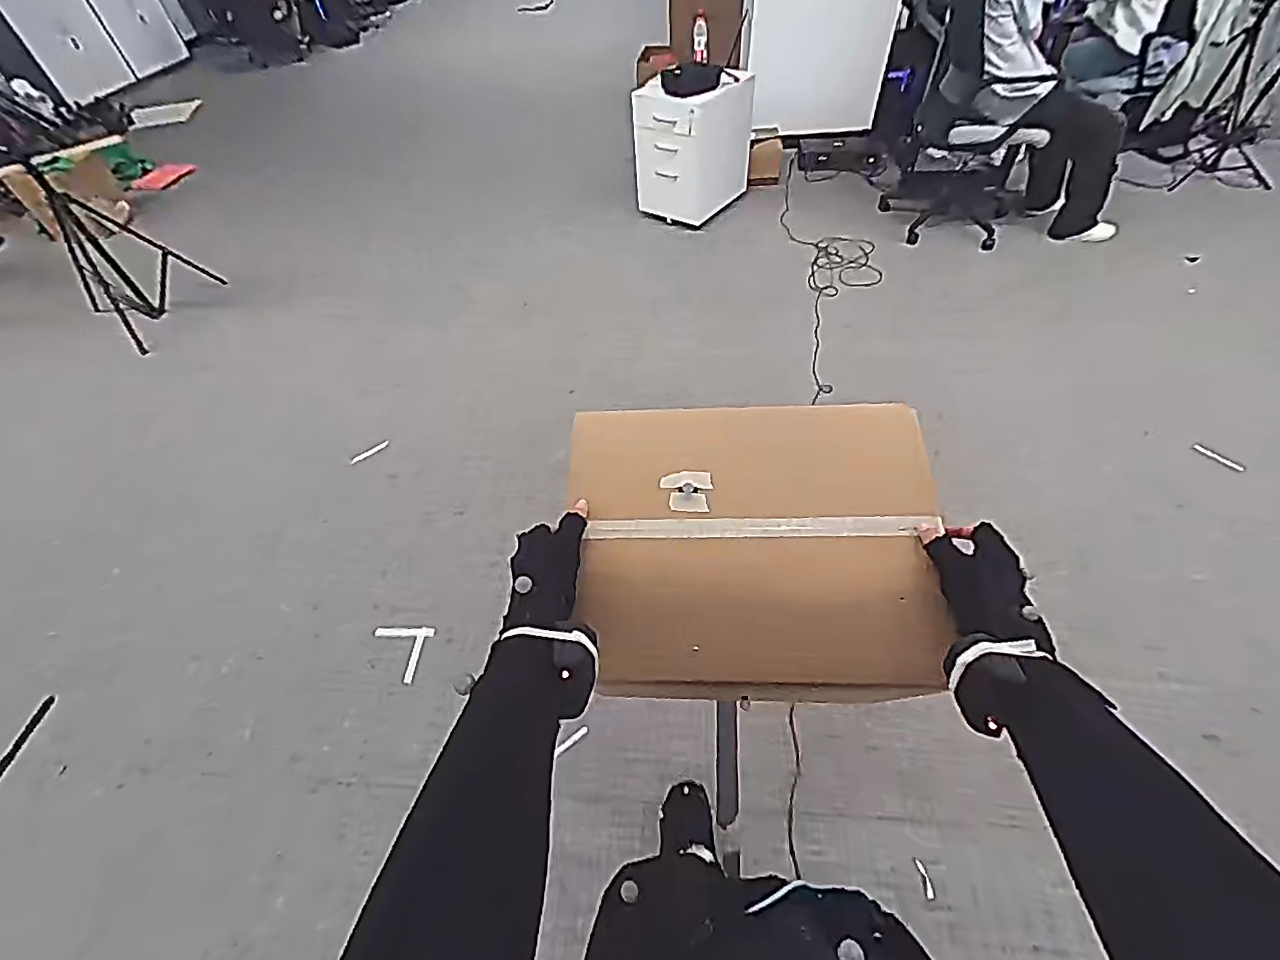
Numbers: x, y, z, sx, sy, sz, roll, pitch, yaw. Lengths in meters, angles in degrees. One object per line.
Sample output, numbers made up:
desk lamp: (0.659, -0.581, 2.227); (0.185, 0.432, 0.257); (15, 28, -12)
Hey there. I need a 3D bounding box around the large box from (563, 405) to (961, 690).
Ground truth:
large box: (0.134, 0.116, 0.739); (0.408, 0.320, 0.320); (-1, 64, 6)
